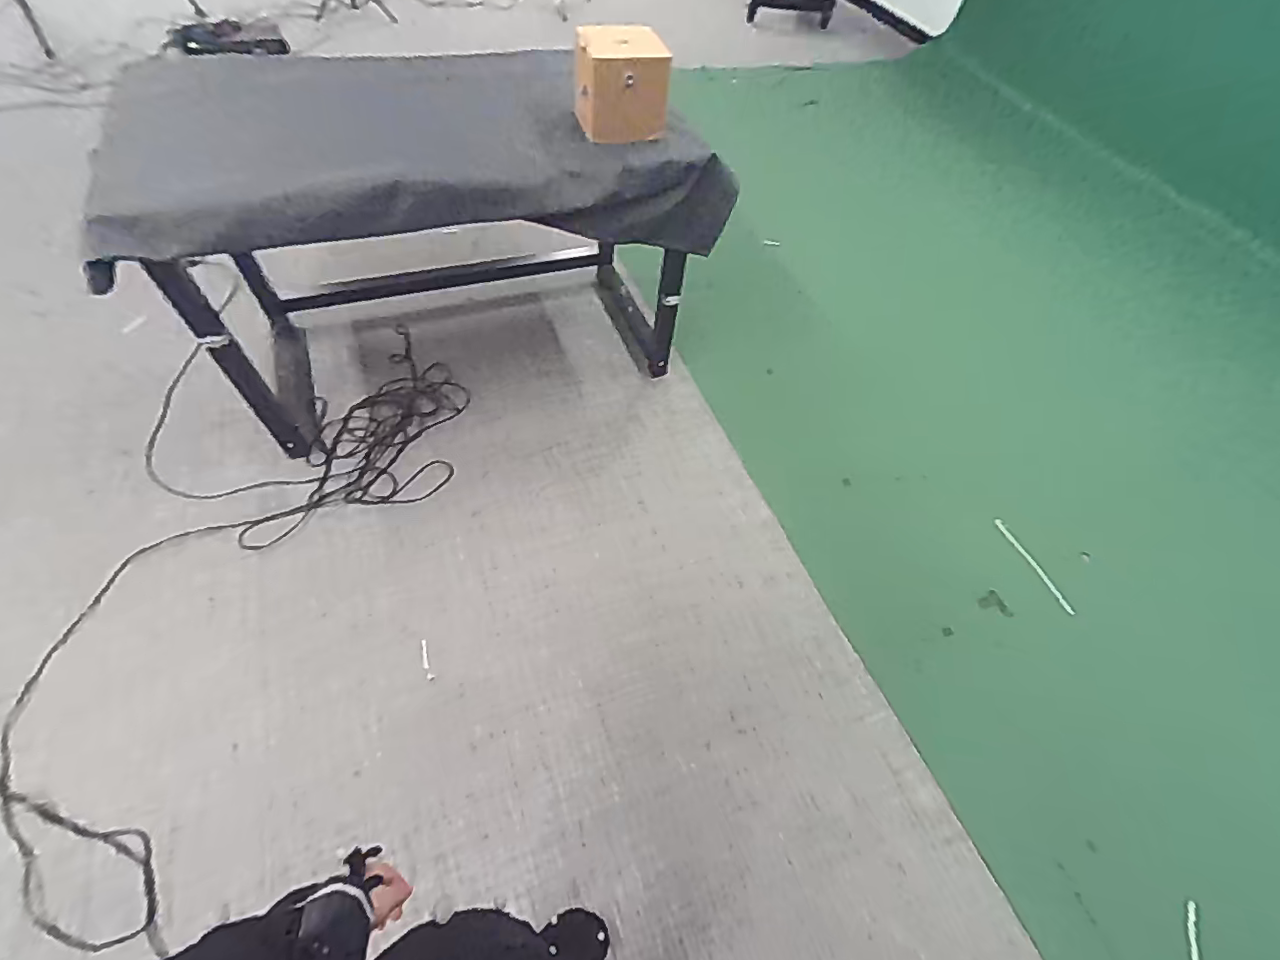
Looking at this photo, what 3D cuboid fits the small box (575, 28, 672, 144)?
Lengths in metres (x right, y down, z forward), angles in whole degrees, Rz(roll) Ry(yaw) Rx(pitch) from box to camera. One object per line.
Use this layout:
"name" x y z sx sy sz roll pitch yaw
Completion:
"small box" -0.043 -0.881 1.216 0.179 0.176 0.168 -11 59 -14
